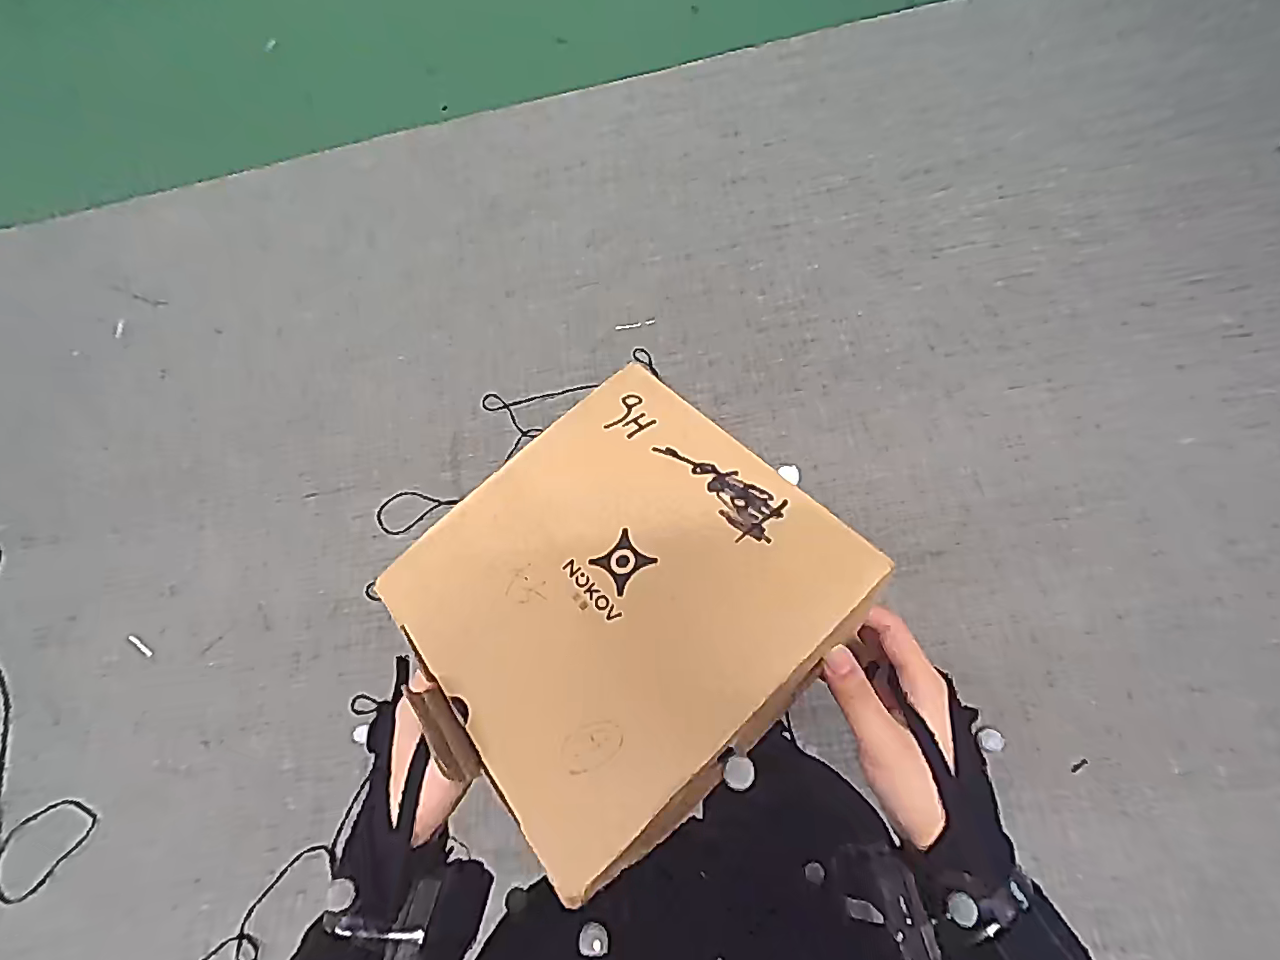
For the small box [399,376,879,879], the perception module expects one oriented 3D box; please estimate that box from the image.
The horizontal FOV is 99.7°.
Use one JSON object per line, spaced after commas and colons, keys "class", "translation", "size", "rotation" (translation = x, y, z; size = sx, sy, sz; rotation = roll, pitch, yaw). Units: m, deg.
{"class": "small box", "translation": [0.007, 0.082, 0.320], "size": [0.179, 0.176, 0.168], "rotation": [-42, 62, -10]}
